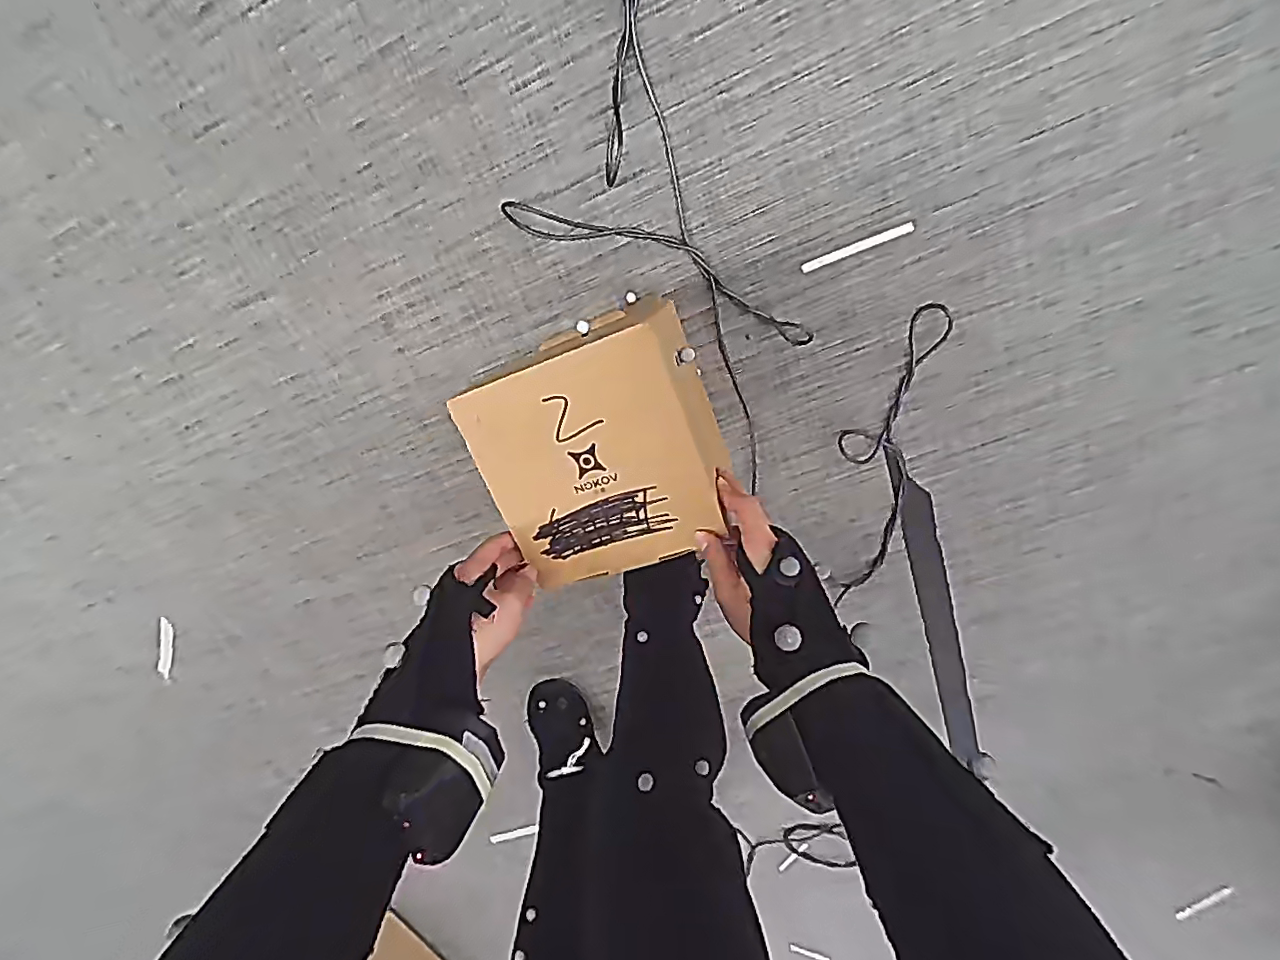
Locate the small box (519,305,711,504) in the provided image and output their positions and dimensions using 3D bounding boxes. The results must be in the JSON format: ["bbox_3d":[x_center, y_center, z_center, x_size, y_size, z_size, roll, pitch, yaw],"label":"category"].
[{"bbox_3d":[-0.024,-0.103,0.669,0.168,0.176,0.179,-21,113,11],"label":"small box"}]
